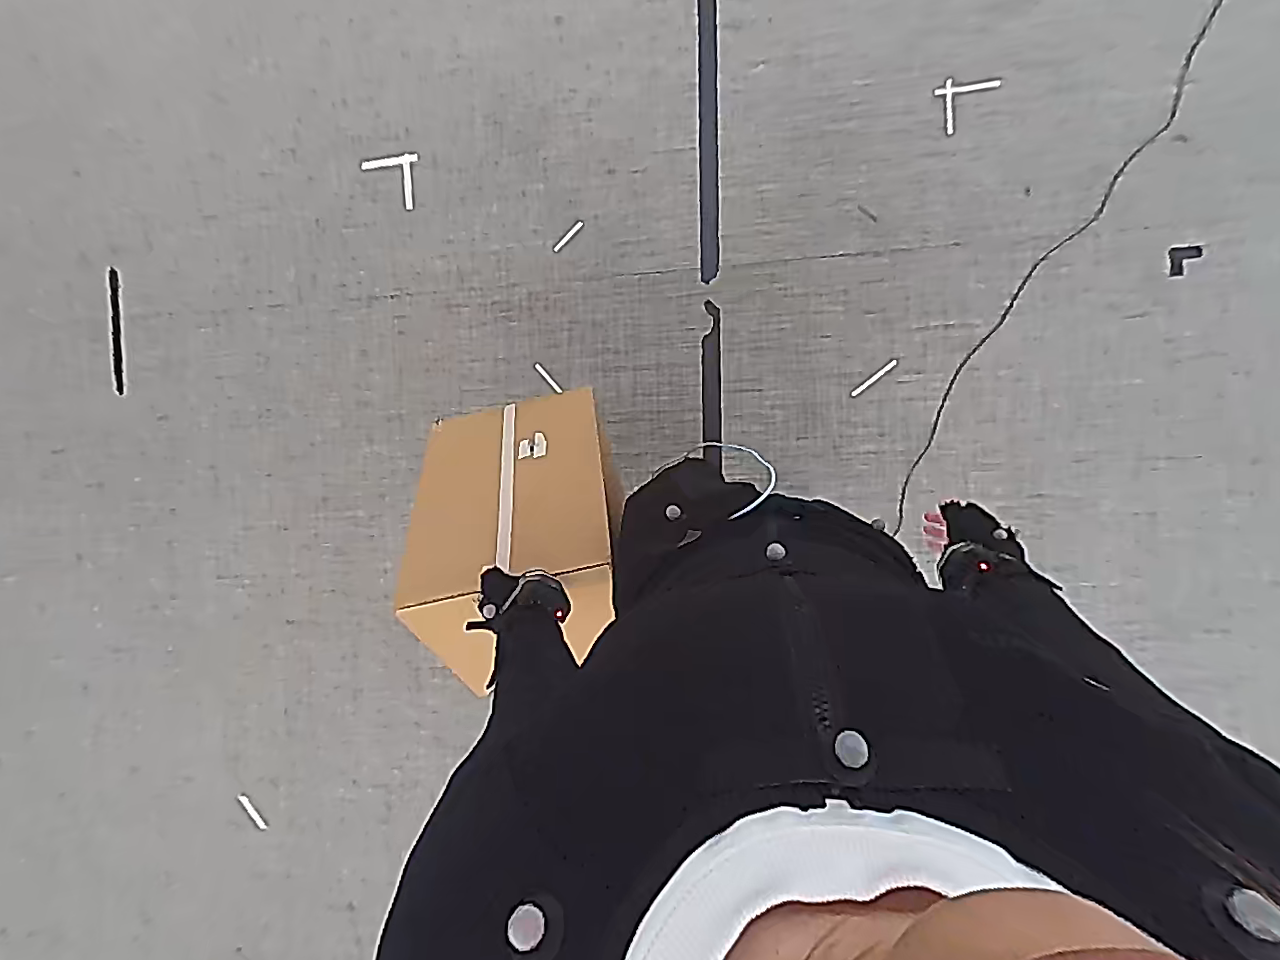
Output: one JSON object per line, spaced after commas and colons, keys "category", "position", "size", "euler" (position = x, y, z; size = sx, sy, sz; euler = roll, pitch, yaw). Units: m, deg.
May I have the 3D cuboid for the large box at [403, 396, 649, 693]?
{"category": "large box", "position": [-0.186, 0.113, 0.997], "size": [0.320, 0.320, 0.408], "euler": [-13, 45, 2]}
